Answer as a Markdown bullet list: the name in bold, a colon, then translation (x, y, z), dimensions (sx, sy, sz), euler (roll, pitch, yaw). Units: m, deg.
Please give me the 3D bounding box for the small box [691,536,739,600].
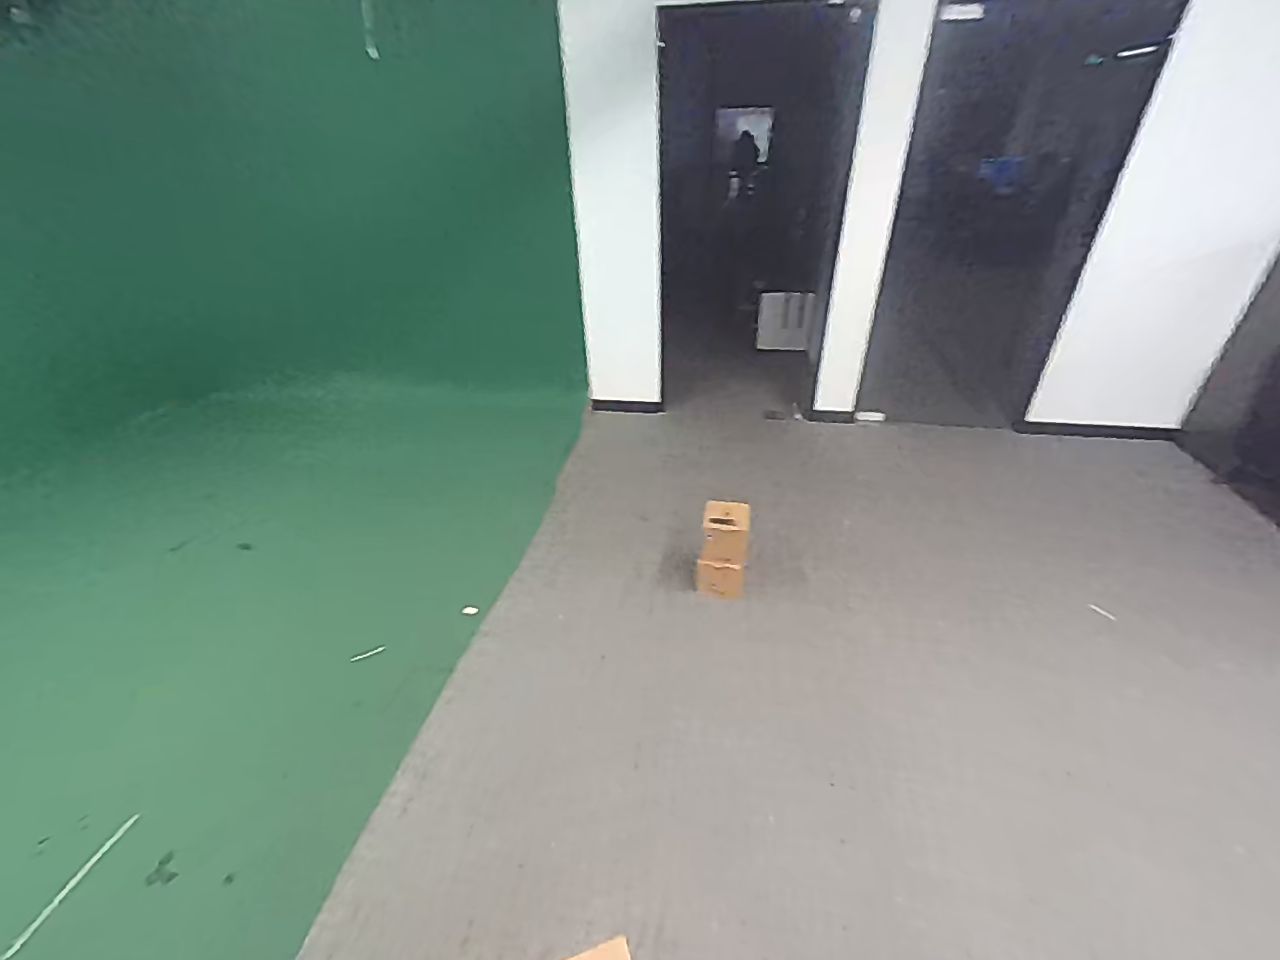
- **small box**: translation (0.300, 0.354, 2.176), dimensions (0.168, 0.176, 0.179), euler (8, 34, 13)
